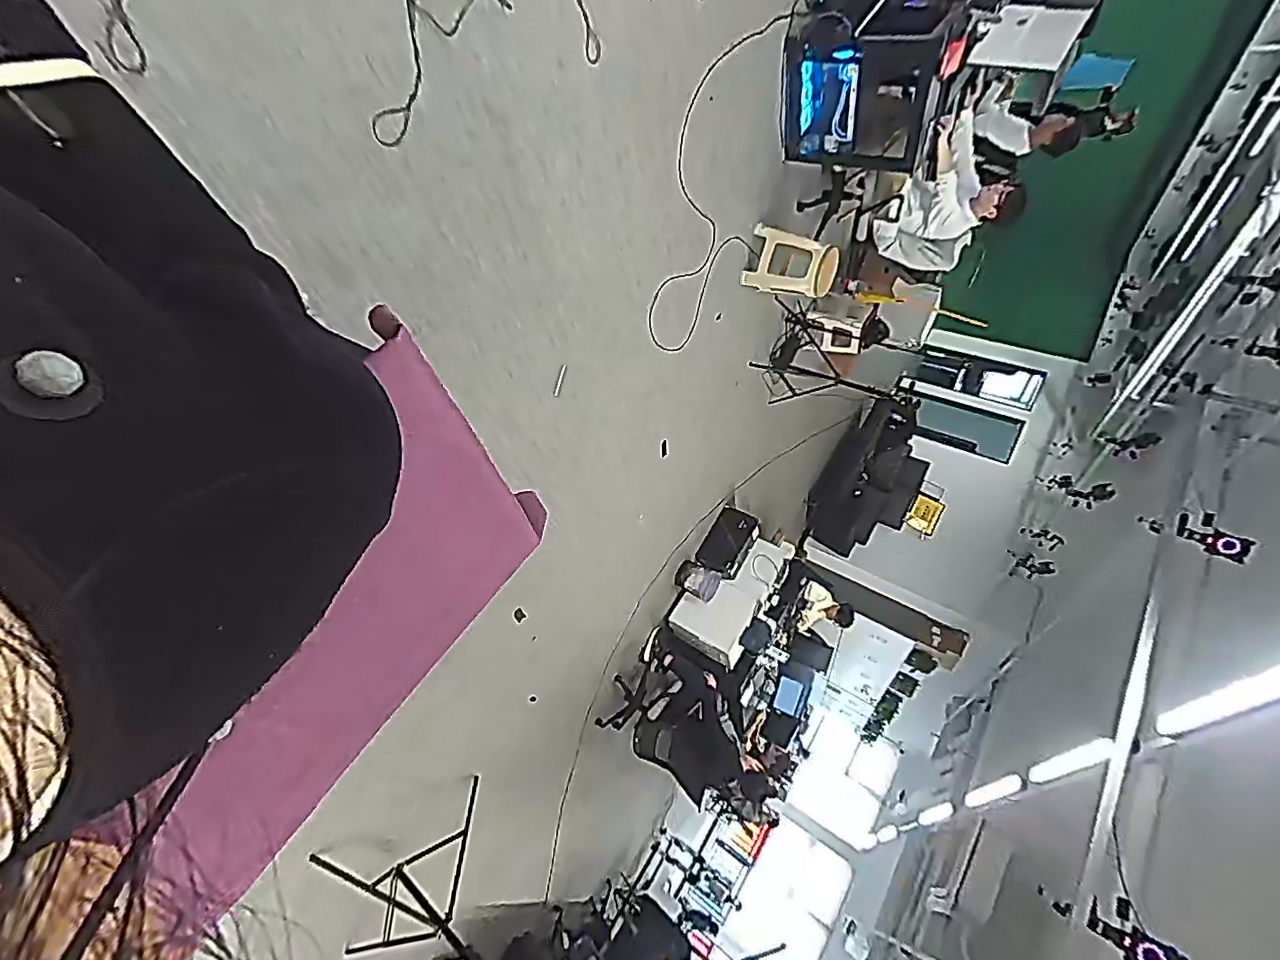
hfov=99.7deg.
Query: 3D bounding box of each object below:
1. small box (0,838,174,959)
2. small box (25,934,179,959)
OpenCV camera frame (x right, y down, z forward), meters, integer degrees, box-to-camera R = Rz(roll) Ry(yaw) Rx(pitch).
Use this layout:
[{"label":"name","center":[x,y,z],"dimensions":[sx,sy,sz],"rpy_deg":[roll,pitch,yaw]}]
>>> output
[{"label":"small box","center":[-0.739,0.572,0.654],"dimensions":[0.168,0.176,0.179],"rpy_deg":[-50,148,-27]},{"label":"small box","center":[-0.608,0.629,0.573],"dimensions":[0.168,0.176,0.179],"rpy_deg":[-49,149,-29]}]
